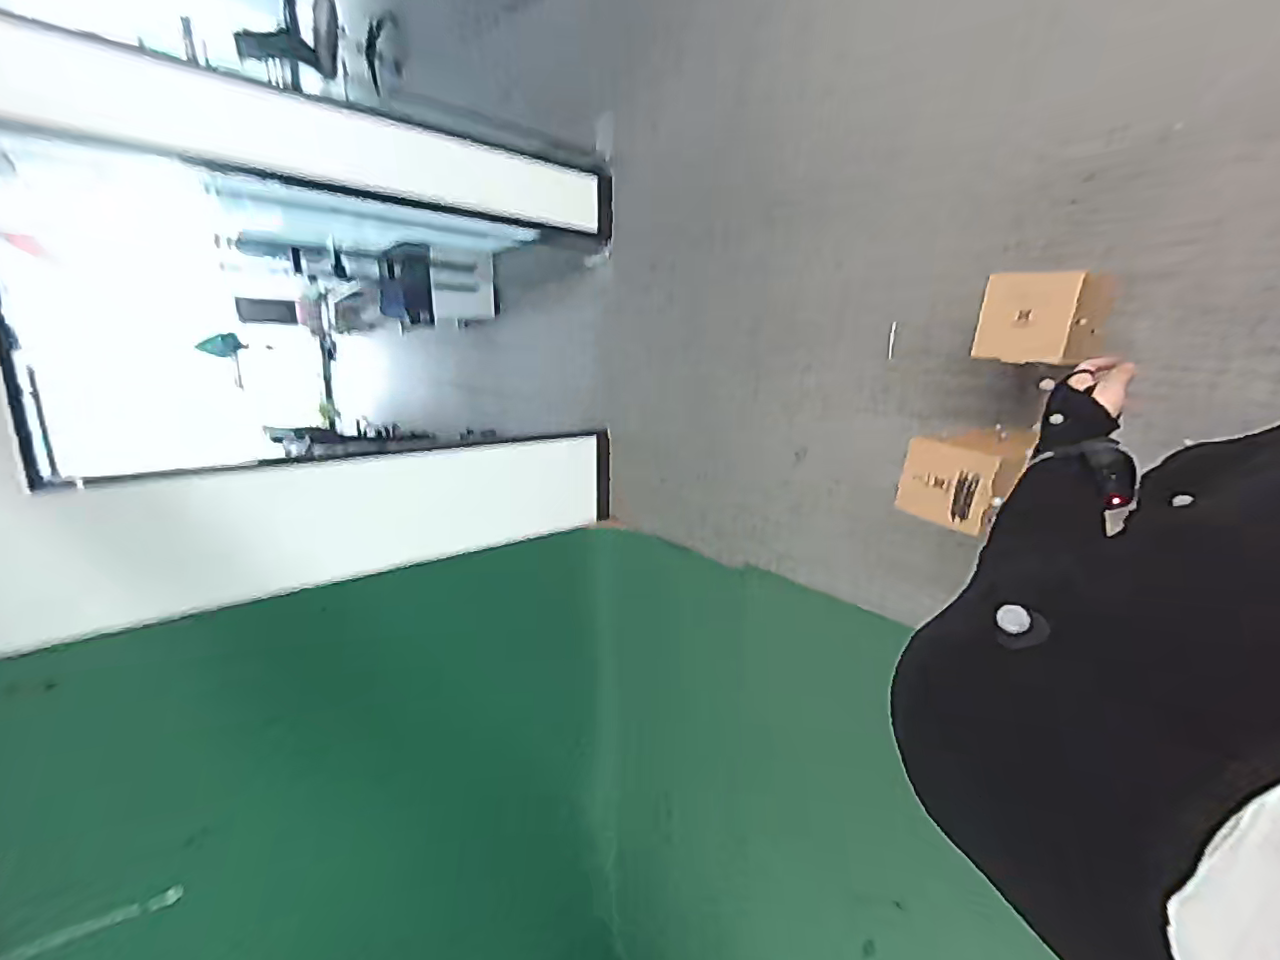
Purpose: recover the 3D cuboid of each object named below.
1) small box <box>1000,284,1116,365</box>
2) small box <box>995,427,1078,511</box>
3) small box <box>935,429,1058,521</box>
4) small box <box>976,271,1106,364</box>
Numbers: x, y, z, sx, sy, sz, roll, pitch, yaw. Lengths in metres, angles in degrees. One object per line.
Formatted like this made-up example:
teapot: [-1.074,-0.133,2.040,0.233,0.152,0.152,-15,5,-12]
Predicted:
small box: [0.979,-0.366,1.266,0.168,0.176,0.179,19,112,48]
small box: [0.957,-0.036,1.357,0.179,0.176,0.168,24,115,48]
small box: [0.829,-0.021,1.254,0.179,0.176,0.168,25,115,47]
small box: [0.857,-0.345,1.157,0.168,0.176,0.179,22,114,47]
